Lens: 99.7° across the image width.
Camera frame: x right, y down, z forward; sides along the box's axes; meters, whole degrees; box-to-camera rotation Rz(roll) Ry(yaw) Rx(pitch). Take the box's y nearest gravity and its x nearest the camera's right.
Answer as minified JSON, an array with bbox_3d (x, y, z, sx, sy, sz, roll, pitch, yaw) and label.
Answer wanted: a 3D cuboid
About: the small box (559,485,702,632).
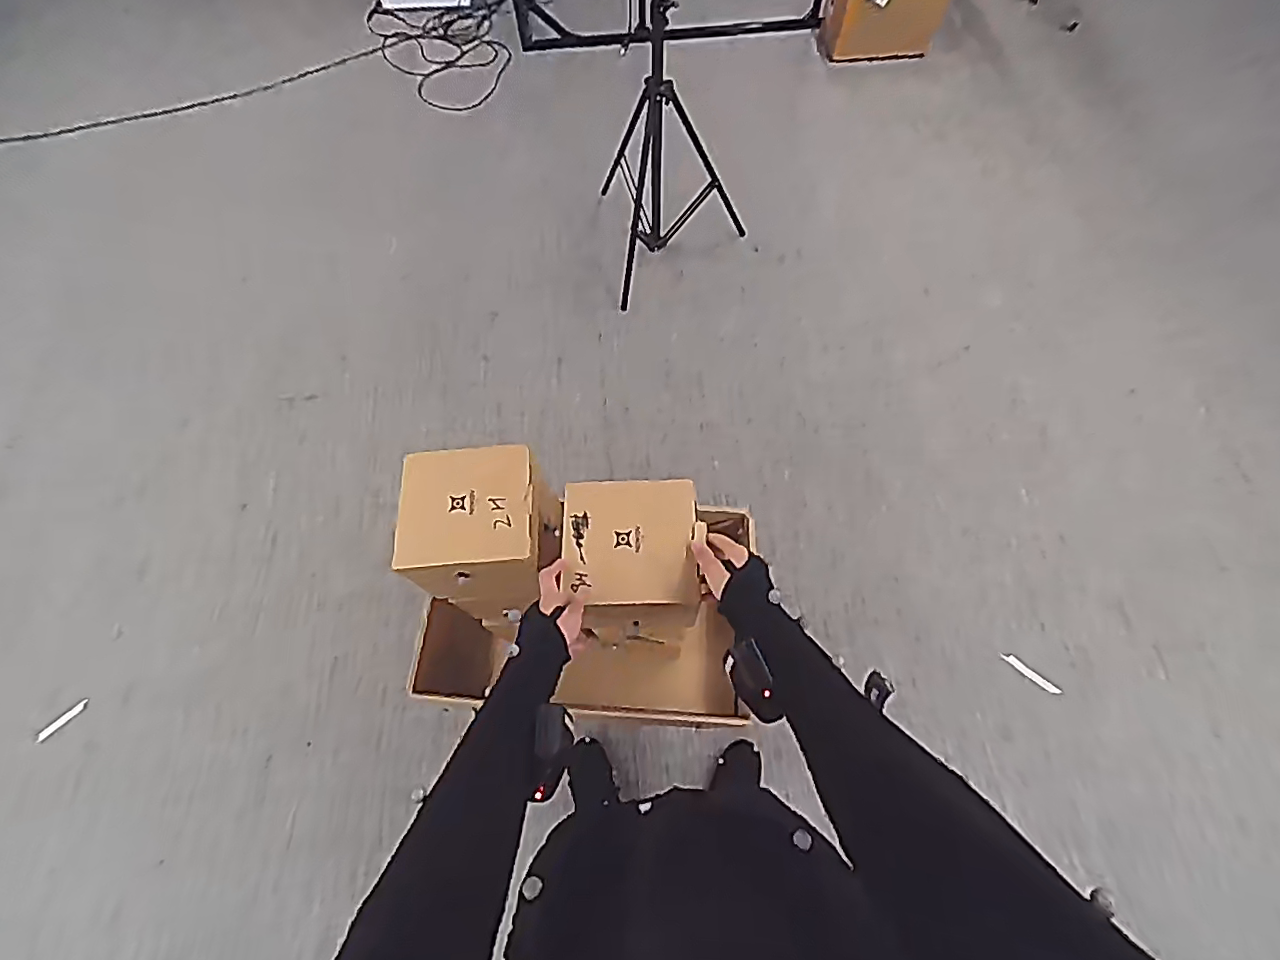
[{"bbox_3d":[-0.010,0.114,0.755,0.179,0.176,0.168,-1,65,1],"label":"small box"}]

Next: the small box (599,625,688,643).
[{"bbox_3d":[0.005,0.170,0.909,0.168,0.176,0.179,6,66,5],"label":"small box"}]
